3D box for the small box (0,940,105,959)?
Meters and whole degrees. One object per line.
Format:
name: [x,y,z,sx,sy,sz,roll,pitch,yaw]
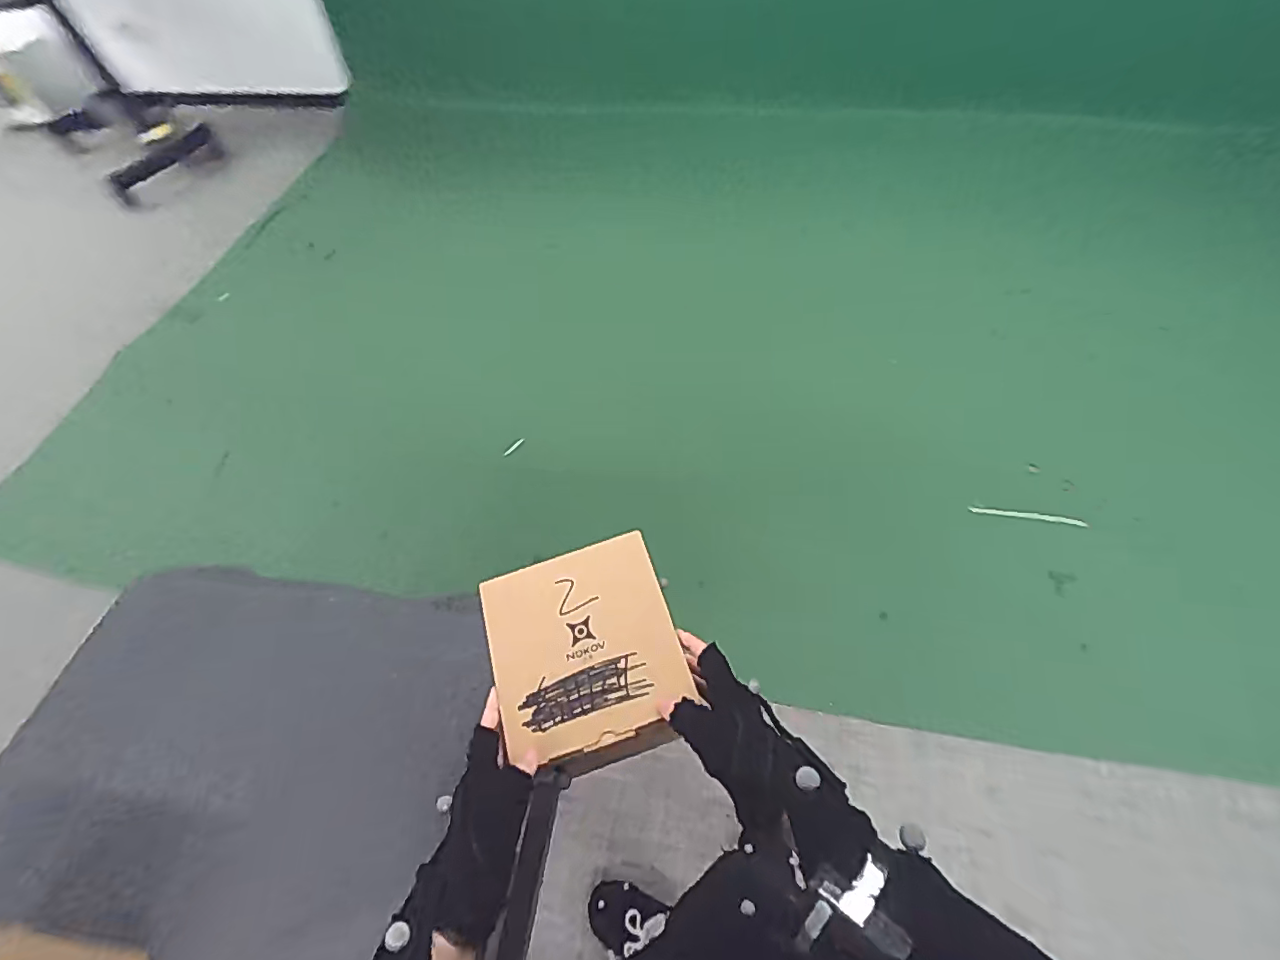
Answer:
small box: [-0.633,0.536,0.479,0.179,0.176,0.168,6,57,6]
